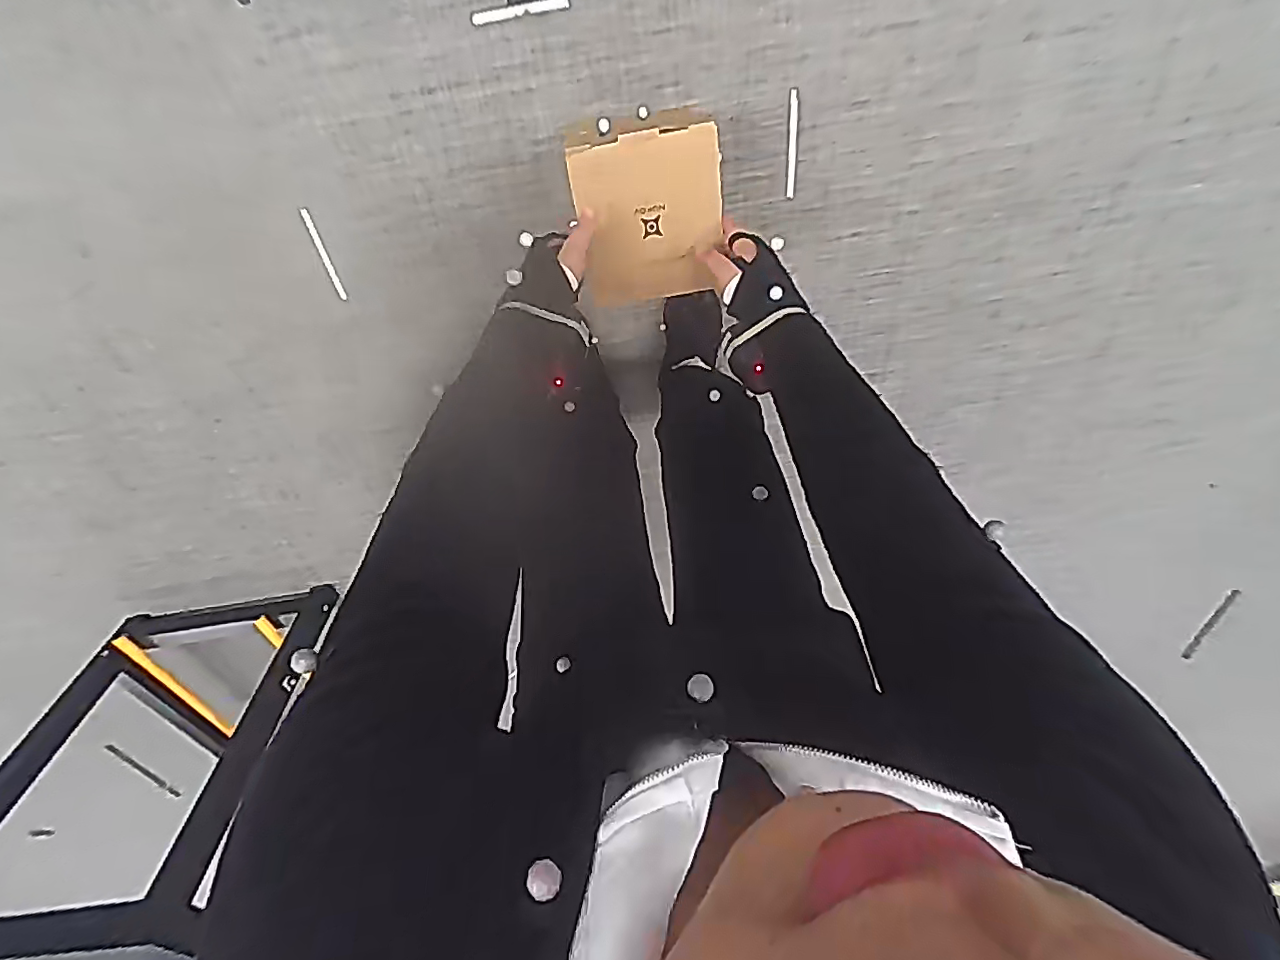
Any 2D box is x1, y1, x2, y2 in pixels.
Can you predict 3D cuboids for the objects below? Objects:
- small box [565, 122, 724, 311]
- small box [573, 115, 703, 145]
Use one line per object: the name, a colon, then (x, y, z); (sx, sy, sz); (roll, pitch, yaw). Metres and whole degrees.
small box: (0.006, -0.337, 0.681); (0.168, 0.176, 0.179); (-9, 127, 3)
small box: (-0.002, -0.443, 0.819); (0.179, 0.176, 0.168); (-7, 128, -1)
